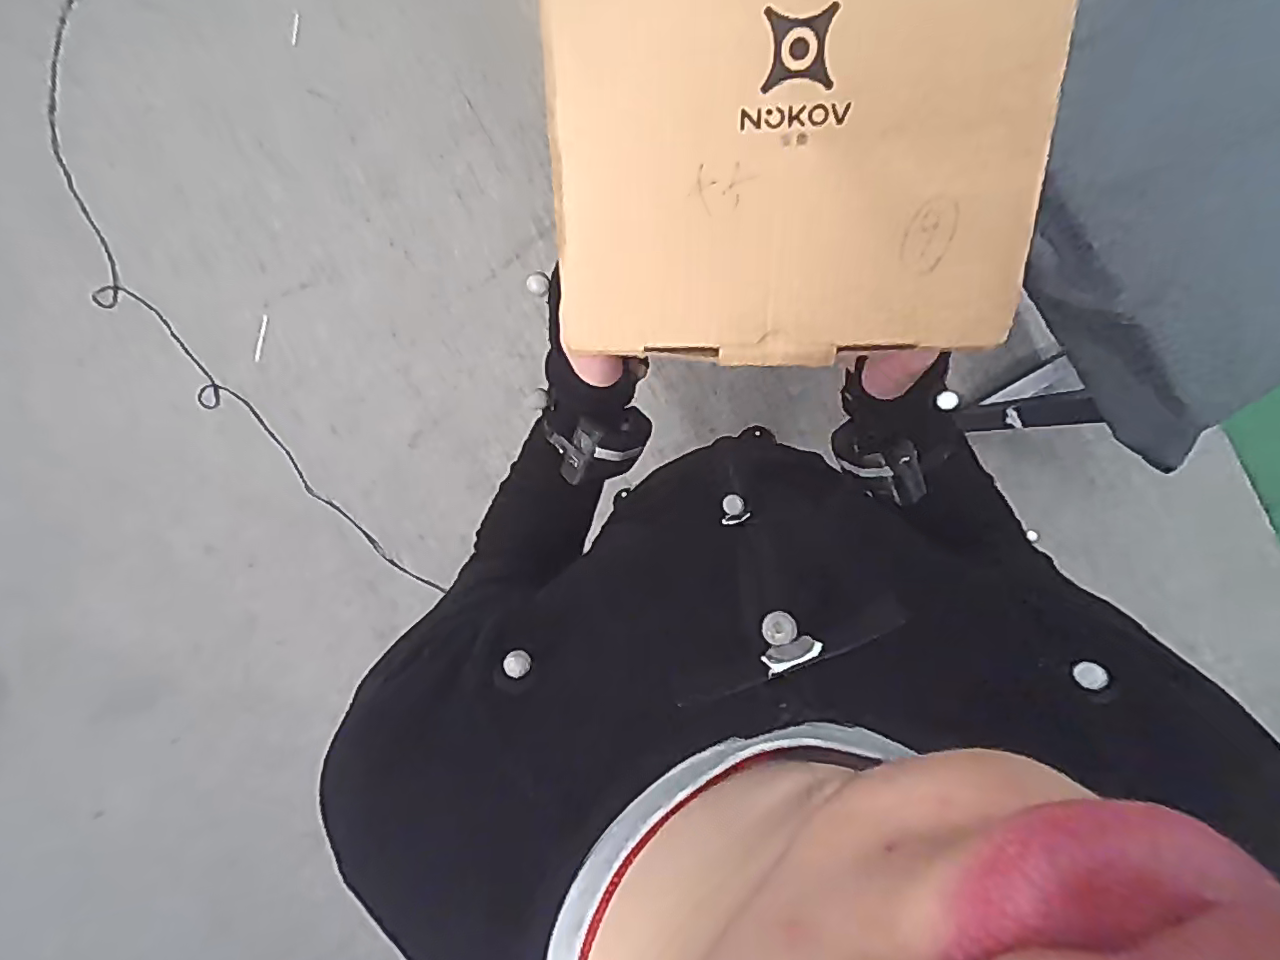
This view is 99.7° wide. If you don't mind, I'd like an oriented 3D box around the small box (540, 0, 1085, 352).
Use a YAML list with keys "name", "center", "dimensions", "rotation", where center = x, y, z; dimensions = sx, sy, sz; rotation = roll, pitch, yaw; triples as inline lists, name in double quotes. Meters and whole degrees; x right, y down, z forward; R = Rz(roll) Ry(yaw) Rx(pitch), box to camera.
- name: "small box"
  center: [0.054, -0.161, 0.244]
  dimensions: [0.168, 0.176, 0.179]
  rotation: [-1, 112, 2]
